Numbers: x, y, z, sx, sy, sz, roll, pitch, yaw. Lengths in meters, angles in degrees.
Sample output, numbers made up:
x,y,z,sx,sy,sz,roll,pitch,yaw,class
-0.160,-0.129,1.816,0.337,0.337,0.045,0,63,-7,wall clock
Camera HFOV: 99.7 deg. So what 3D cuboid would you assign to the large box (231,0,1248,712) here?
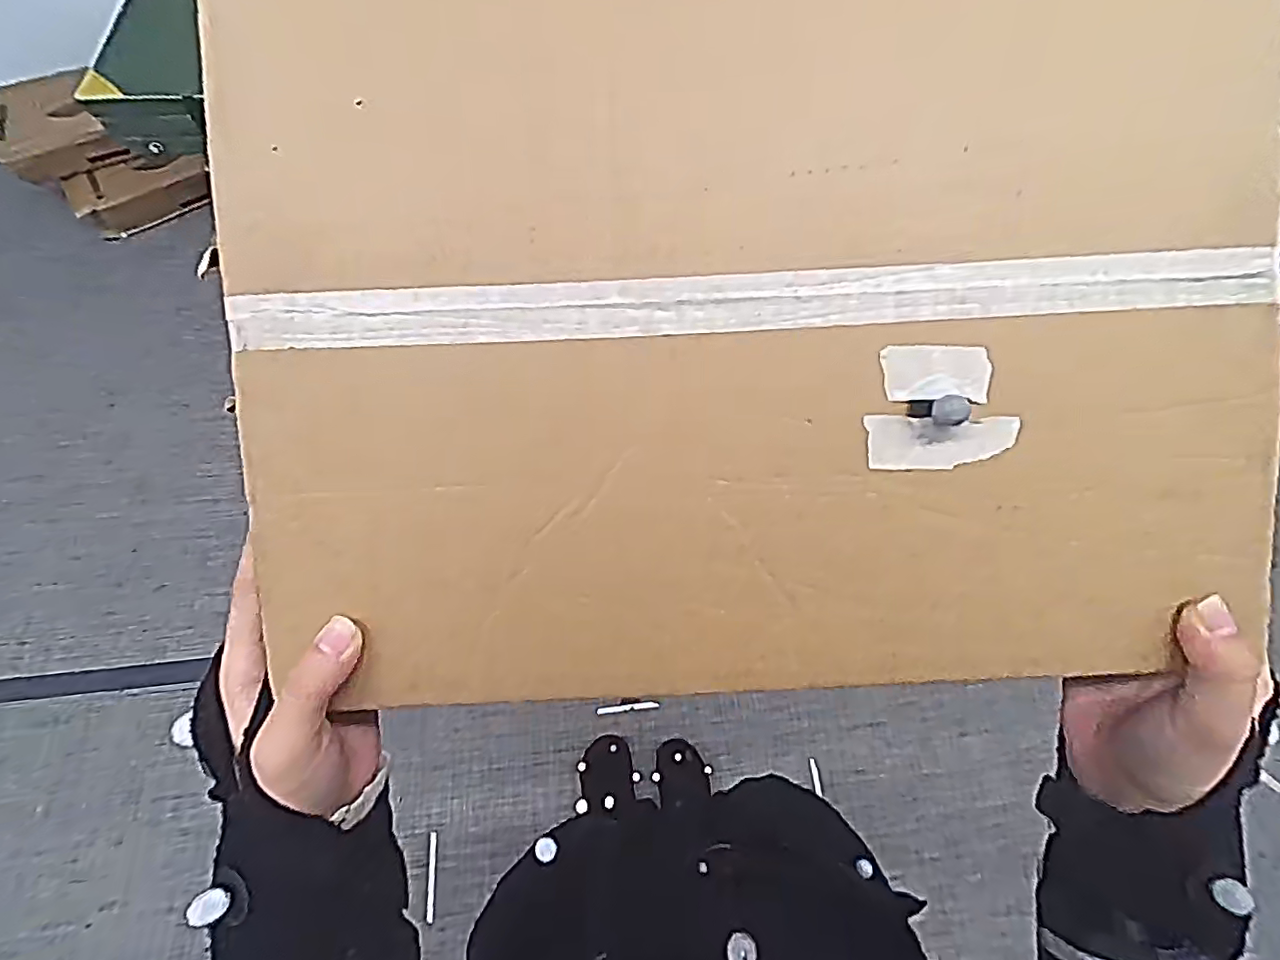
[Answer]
x,y,z,sx,sy,sz,roll,pitch,yaw,class
0.042,-0.076,0.369,0.408,0.320,0.320,-3,95,-1,large box
